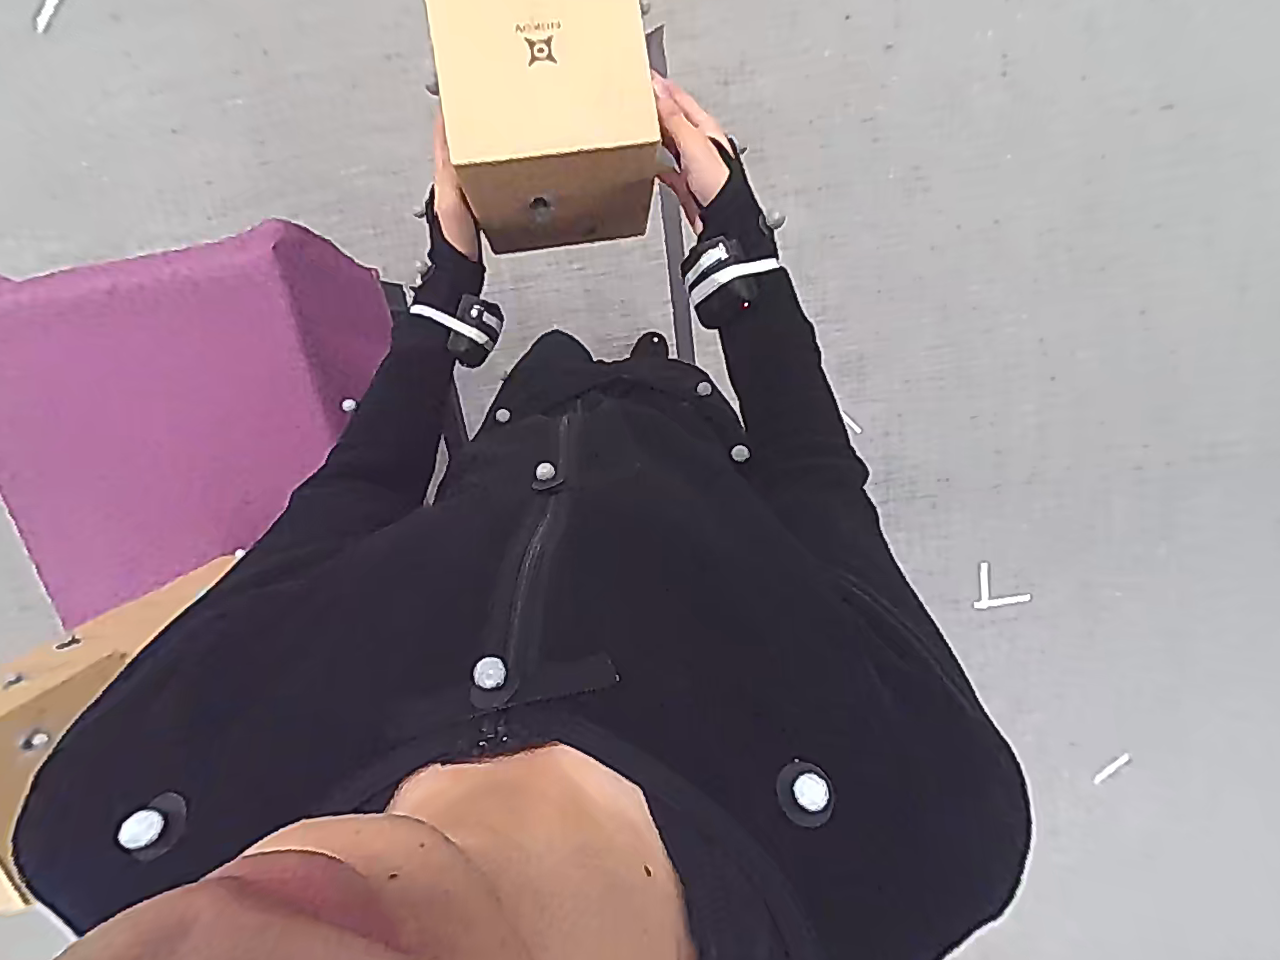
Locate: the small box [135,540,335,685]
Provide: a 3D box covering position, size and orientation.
[{"bbox_3d":[-0.638,0.220,0.881,0.168,0.176,0.179,-12,104,5],"label":"small box"}]

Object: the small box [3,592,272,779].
[{"bbox_3d":[-0.648,0.265,0.723,0.179,0.176,0.168,-6,106,4],"label":"small box"}]

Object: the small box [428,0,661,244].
[{"bbox_3d":[-0.078,-0.335,0.493,0.168,0.176,0.179,-9,89,-4],"label":"small box"}]
